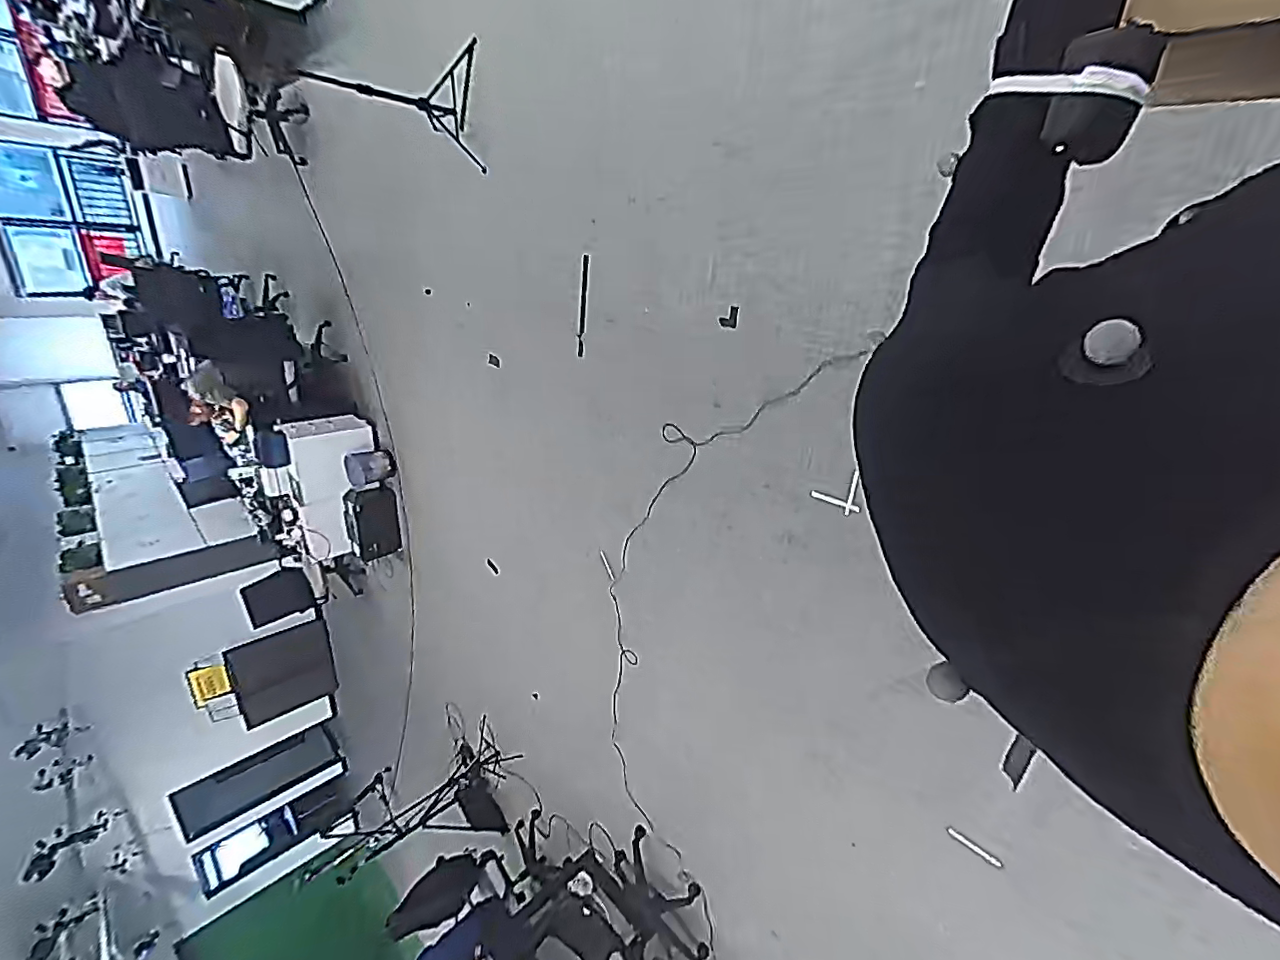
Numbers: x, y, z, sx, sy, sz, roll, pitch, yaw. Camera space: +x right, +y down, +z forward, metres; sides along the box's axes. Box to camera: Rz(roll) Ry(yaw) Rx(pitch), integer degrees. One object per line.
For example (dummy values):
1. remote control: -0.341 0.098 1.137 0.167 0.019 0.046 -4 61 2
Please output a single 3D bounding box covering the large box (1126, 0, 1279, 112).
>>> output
1. large box: 0.554 -0.412 0.272 0.408 0.320 0.320 20 123 35
